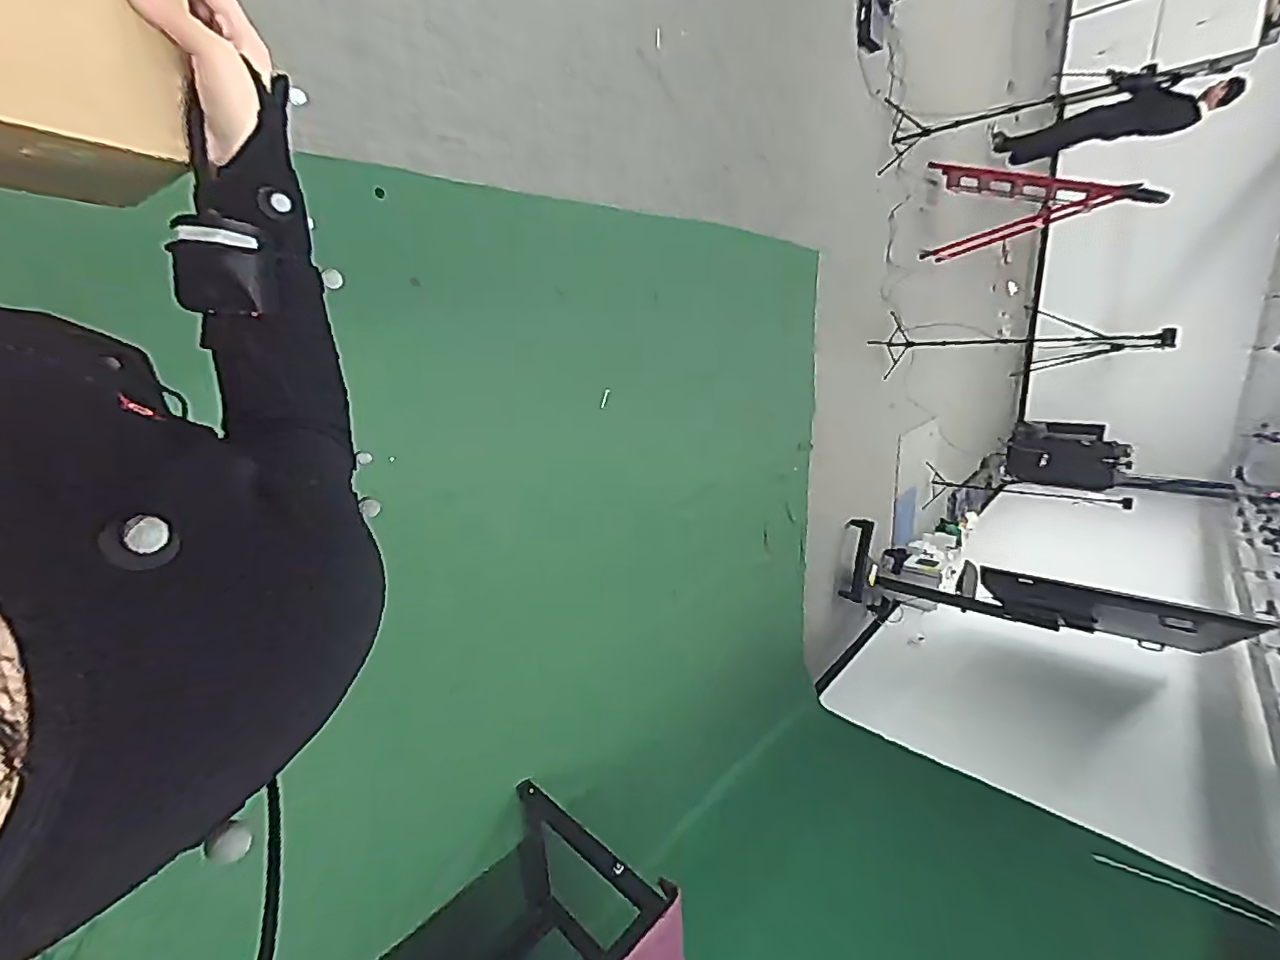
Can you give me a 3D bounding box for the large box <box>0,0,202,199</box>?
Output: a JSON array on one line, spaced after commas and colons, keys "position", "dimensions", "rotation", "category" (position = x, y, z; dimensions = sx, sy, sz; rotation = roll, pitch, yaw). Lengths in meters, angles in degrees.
[{"position": [-0.550, -0.380, 0.296], "dimensions": [0.408, 0.320, 0.320], "rotation": [-13, 113, -49], "category": "large box"}]
